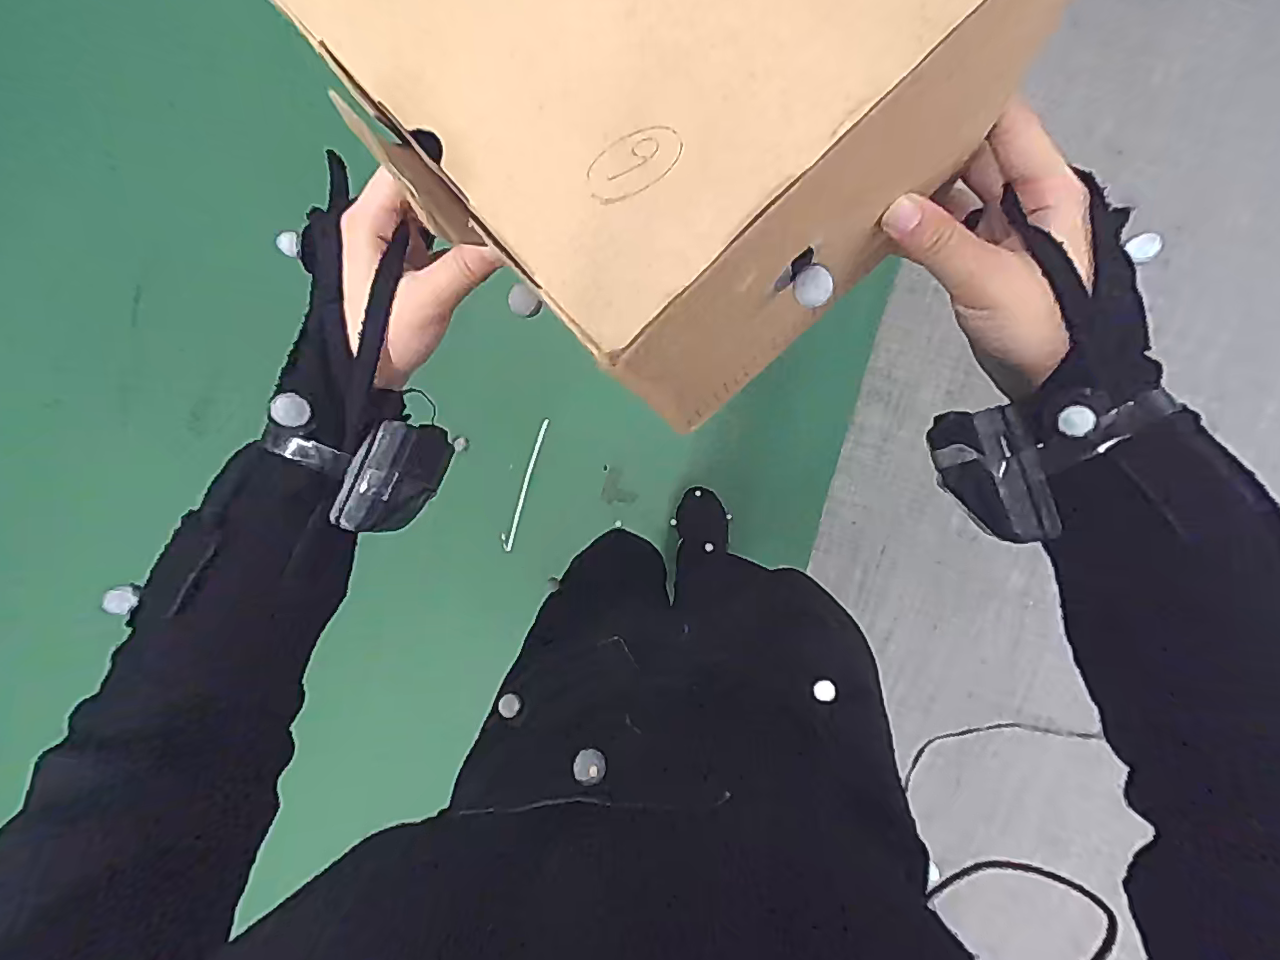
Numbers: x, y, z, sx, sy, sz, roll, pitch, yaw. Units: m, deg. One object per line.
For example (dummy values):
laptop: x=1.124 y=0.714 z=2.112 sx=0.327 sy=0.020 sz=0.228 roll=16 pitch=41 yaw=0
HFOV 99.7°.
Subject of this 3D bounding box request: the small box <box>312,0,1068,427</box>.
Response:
small box: x=0.025 y=-0.140 z=0.226 sx=0.179 sy=0.176 sz=0.168 roll=-41 pitch=81 yaw=8
